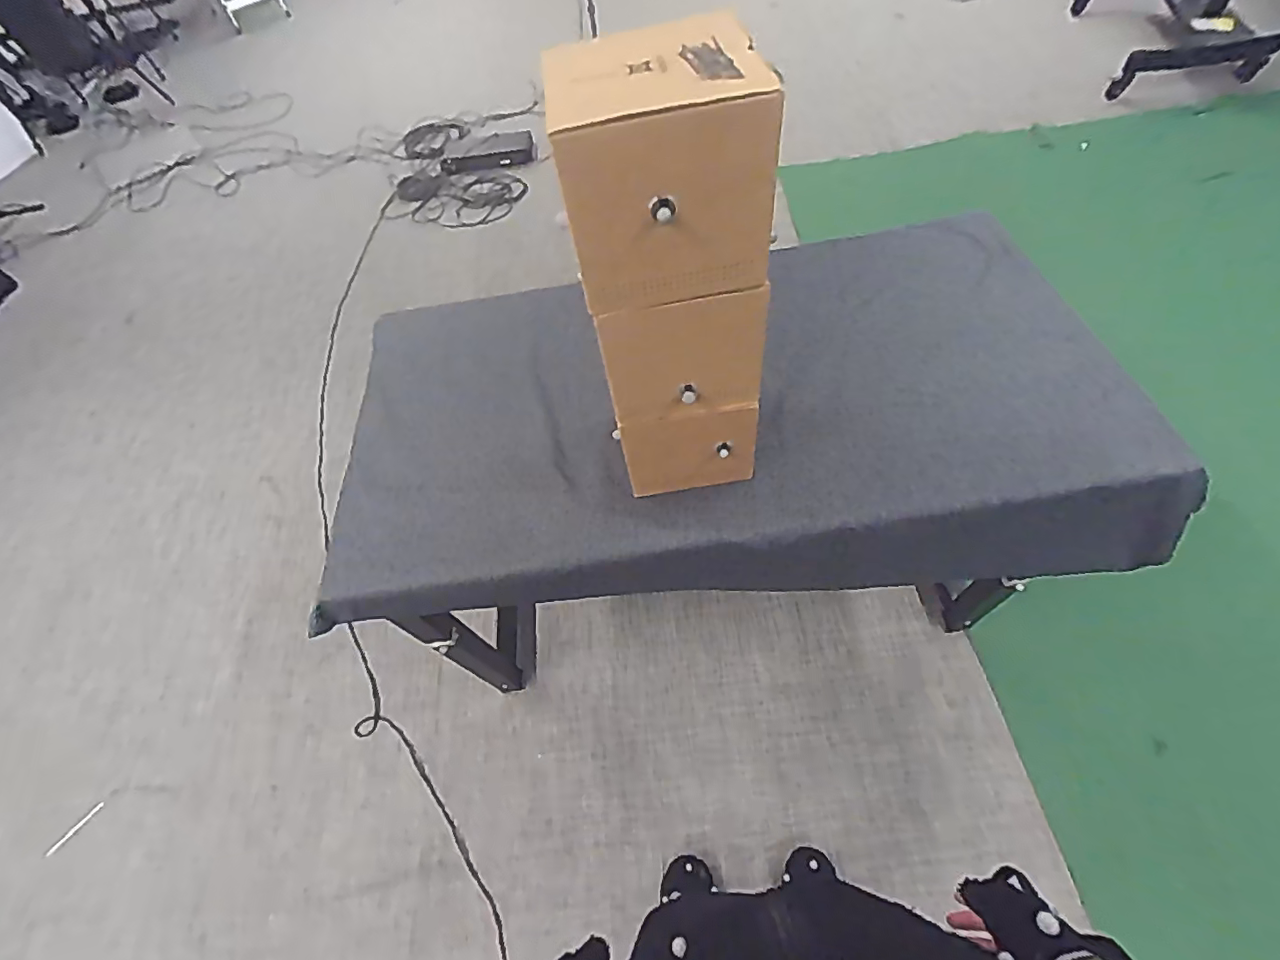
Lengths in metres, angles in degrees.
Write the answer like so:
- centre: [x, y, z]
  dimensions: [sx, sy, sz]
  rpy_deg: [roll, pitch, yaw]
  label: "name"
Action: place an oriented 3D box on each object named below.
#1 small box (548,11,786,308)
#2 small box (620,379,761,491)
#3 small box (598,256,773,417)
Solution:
- centre: [0.021, -0.287, 0.502]
  dimensions: [0.179, 0.176, 0.168]
  rpy_deg: [-10, 56, 2]
  label: "small box"
- centre: [0.063, -0.103, 0.771]
  dimensions: [0.179, 0.176, 0.168]
  rpy_deg: [-10, 56, 3]
  label: "small box"
- centre: [0.043, -0.196, 0.638]
  dimensions: [0.179, 0.176, 0.168]
  rpy_deg: [-9, 56, 1]
  label: "small box"
